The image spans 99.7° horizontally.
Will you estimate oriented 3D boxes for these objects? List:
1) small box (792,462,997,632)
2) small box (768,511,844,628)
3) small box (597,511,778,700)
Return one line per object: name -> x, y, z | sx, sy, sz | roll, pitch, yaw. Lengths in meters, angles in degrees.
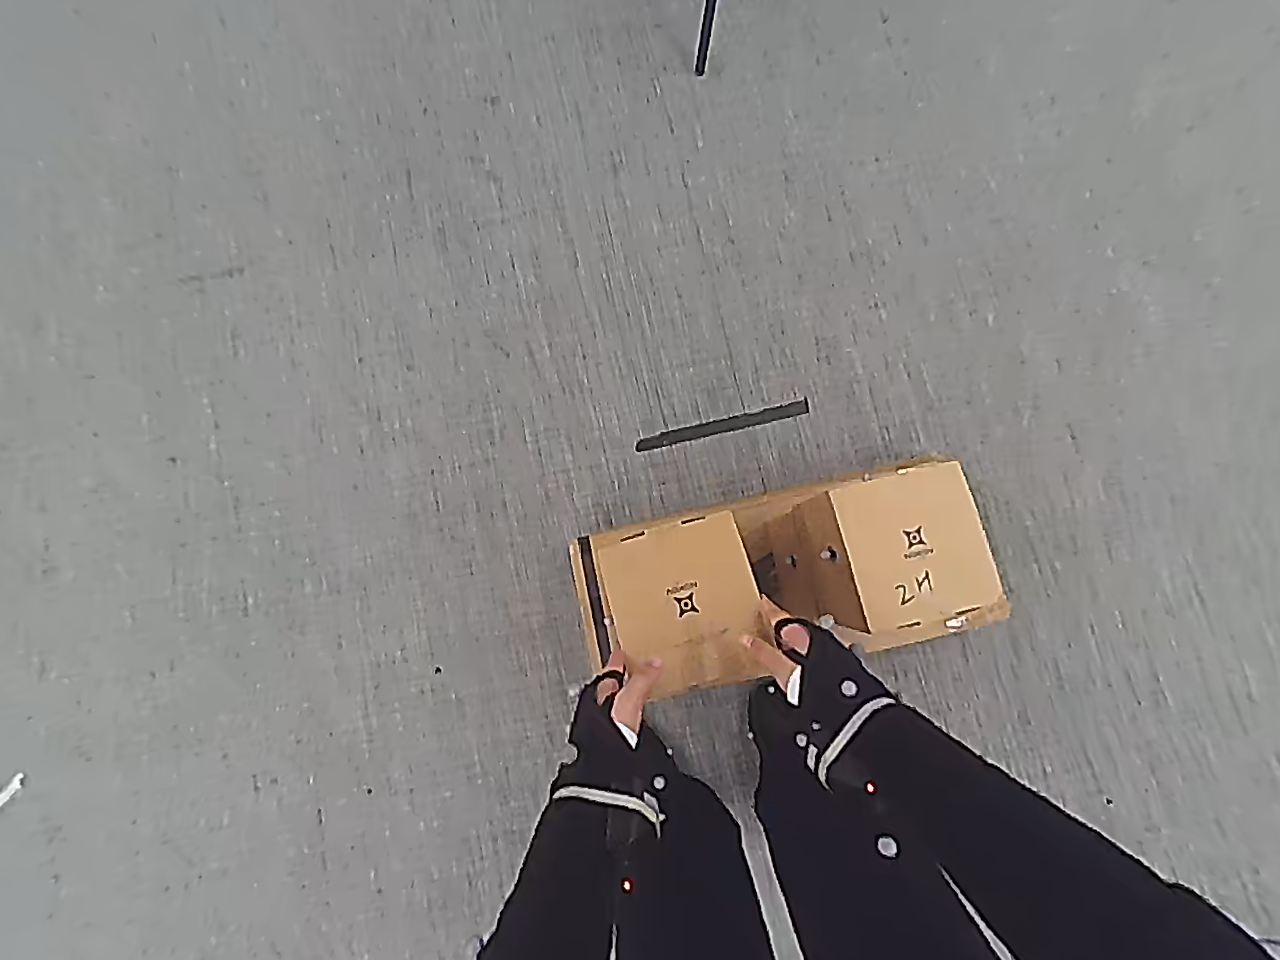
small box -> 0.318, 0.091, 0.717 | 0.168, 0.176, 0.179 | -13, 81, -1
small box -> 0.317, 0.134, 0.879 | 0.168, 0.176, 0.179 | -9, 81, 0
small box -> 0.051, 0.158, 0.675 | 0.168, 0.176, 0.179 | -16, 73, -3
